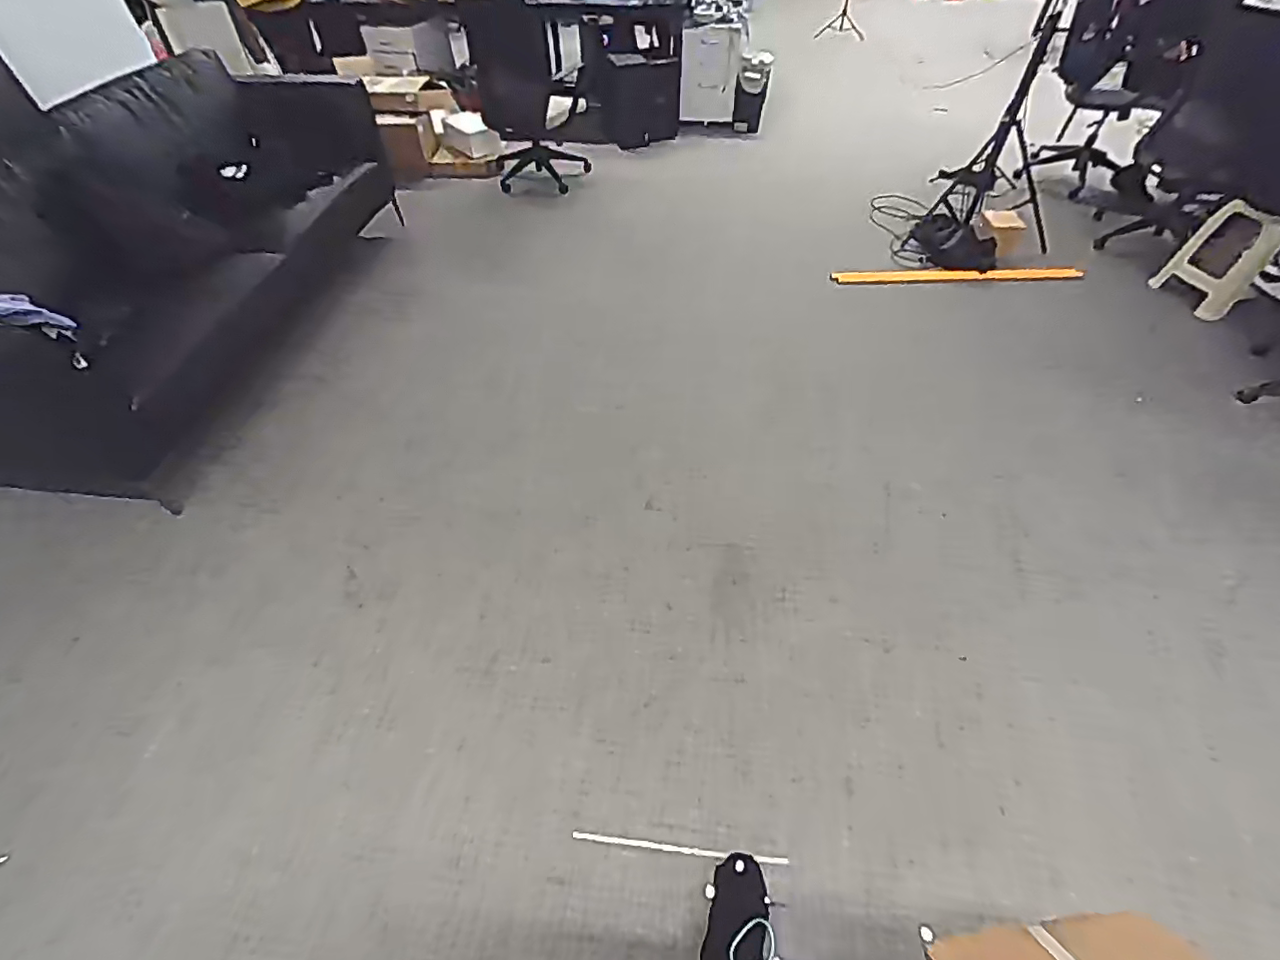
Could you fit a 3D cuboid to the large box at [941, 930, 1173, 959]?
[{"bbox_3d":[0.576,0.782,0.551,0.320,0.408,0.320,-7,83,-1],"label":"large box"}]
